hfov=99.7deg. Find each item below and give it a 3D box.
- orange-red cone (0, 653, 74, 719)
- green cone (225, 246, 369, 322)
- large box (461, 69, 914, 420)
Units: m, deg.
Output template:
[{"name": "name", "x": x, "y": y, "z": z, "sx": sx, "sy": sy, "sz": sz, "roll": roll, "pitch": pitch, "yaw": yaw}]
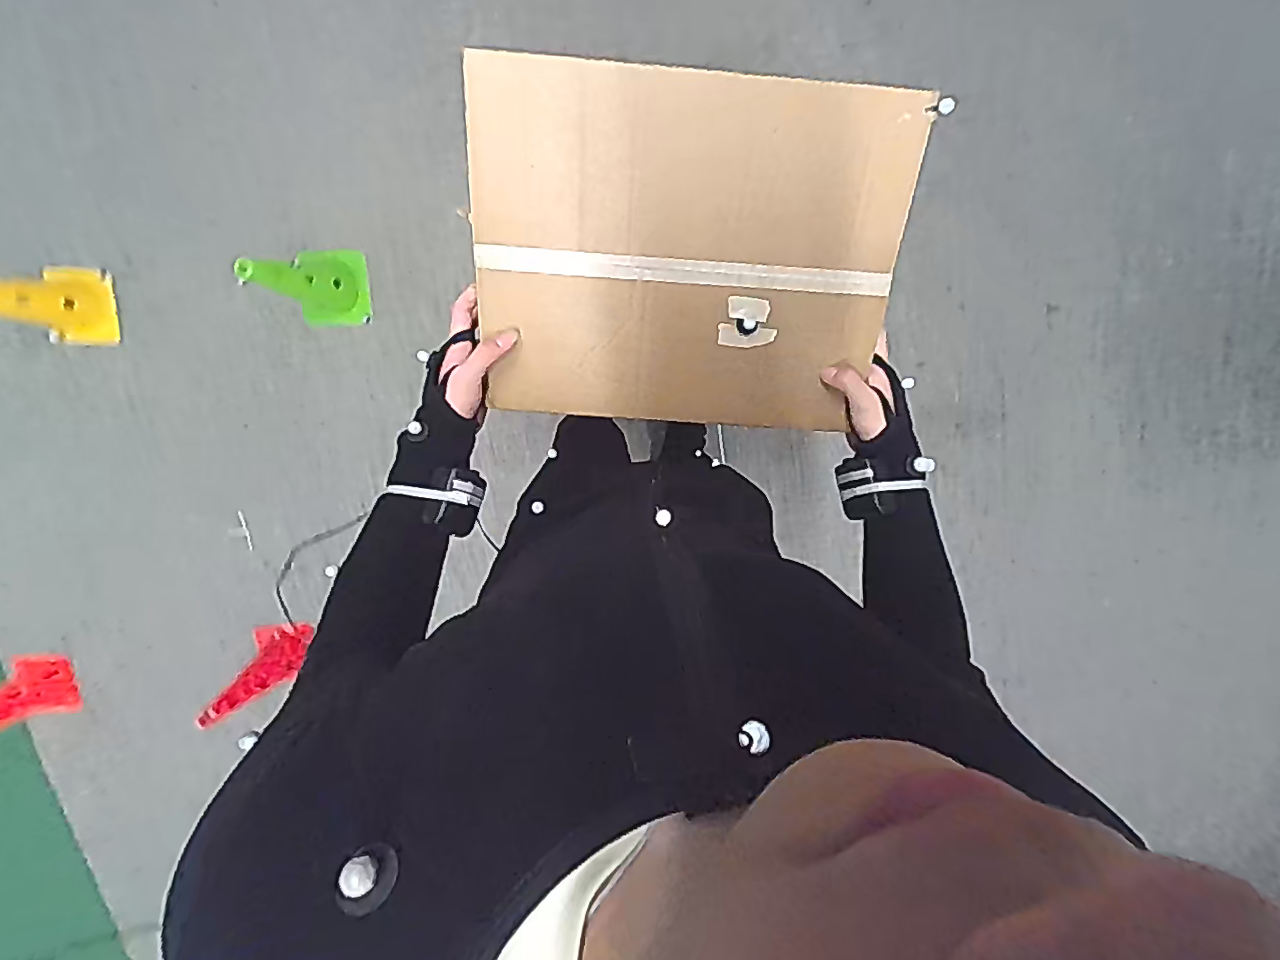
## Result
[{"name": "orange-red cone", "x": -2.037, "y": 0.722, "z": 1.668, "sx": 0.198, "sy": 0.360, "sz": 0.199, "roll": 0, "pitch": 104, "yaw": 2}, {"name": "green cone", "x": -0.881, "y": -0.517, "z": 1.362, "sx": 0.202, "sy": 0.368, "sz": 0.200, "roll": -1, "pitch": 102, "yaw": 3}, {"name": "large box", "x": 0.033, "y": -0.272, "z": 0.666, "sx": 0.408, "sy": 0.320, "sz": 0.320, "roll": 1, "pitch": 117, "yaw": -3}]
